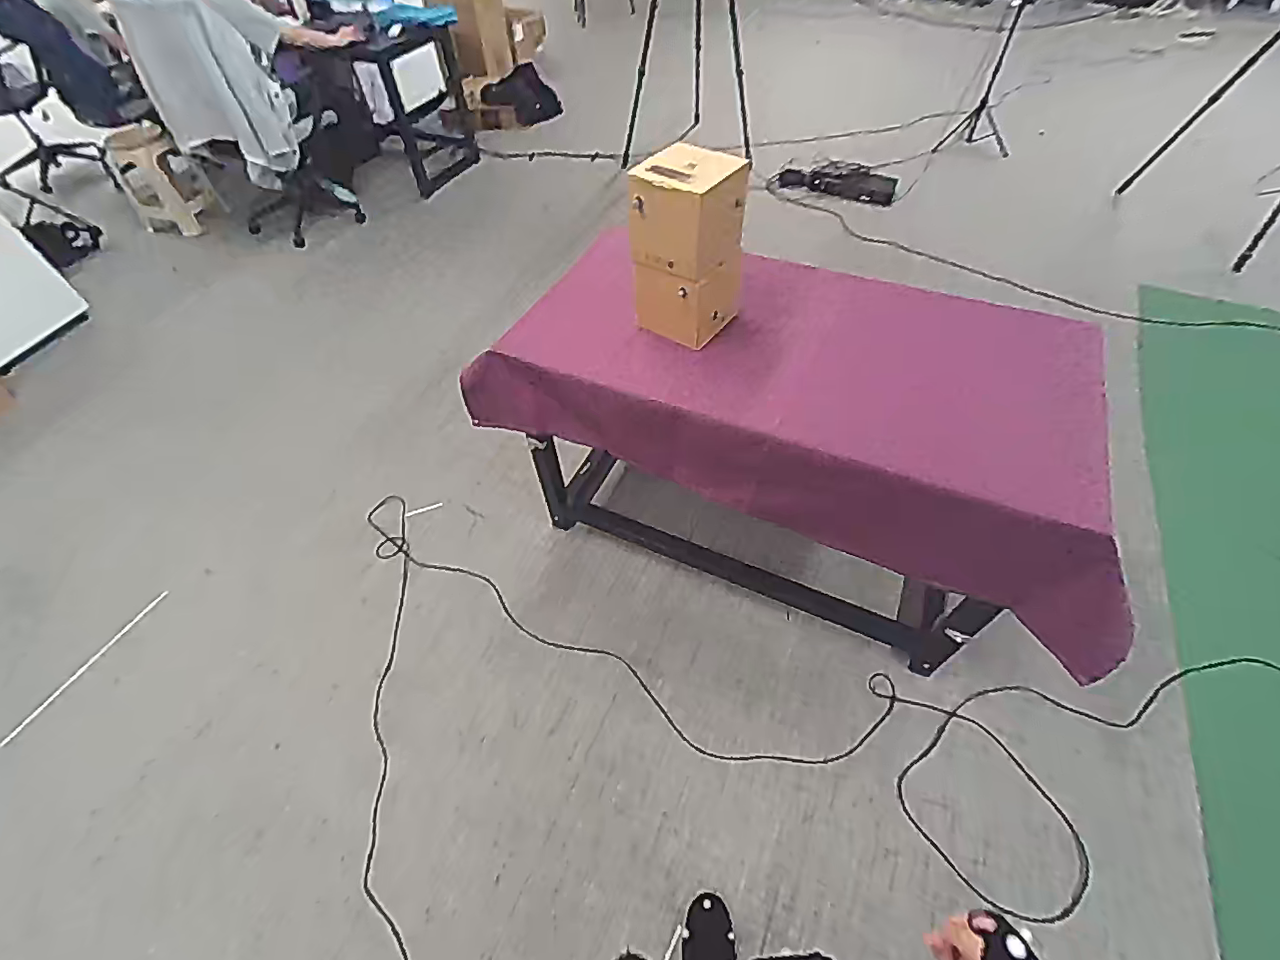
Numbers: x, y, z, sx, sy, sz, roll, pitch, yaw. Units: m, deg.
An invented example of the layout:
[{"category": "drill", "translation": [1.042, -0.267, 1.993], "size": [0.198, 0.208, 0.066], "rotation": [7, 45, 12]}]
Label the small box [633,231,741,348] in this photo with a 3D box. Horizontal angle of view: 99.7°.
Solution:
[{"category": "small box", "translation": [0.102, -0.423, 1.209], "size": [0.179, 0.176, 0.168], "rotation": [30, 58, 23]}]
